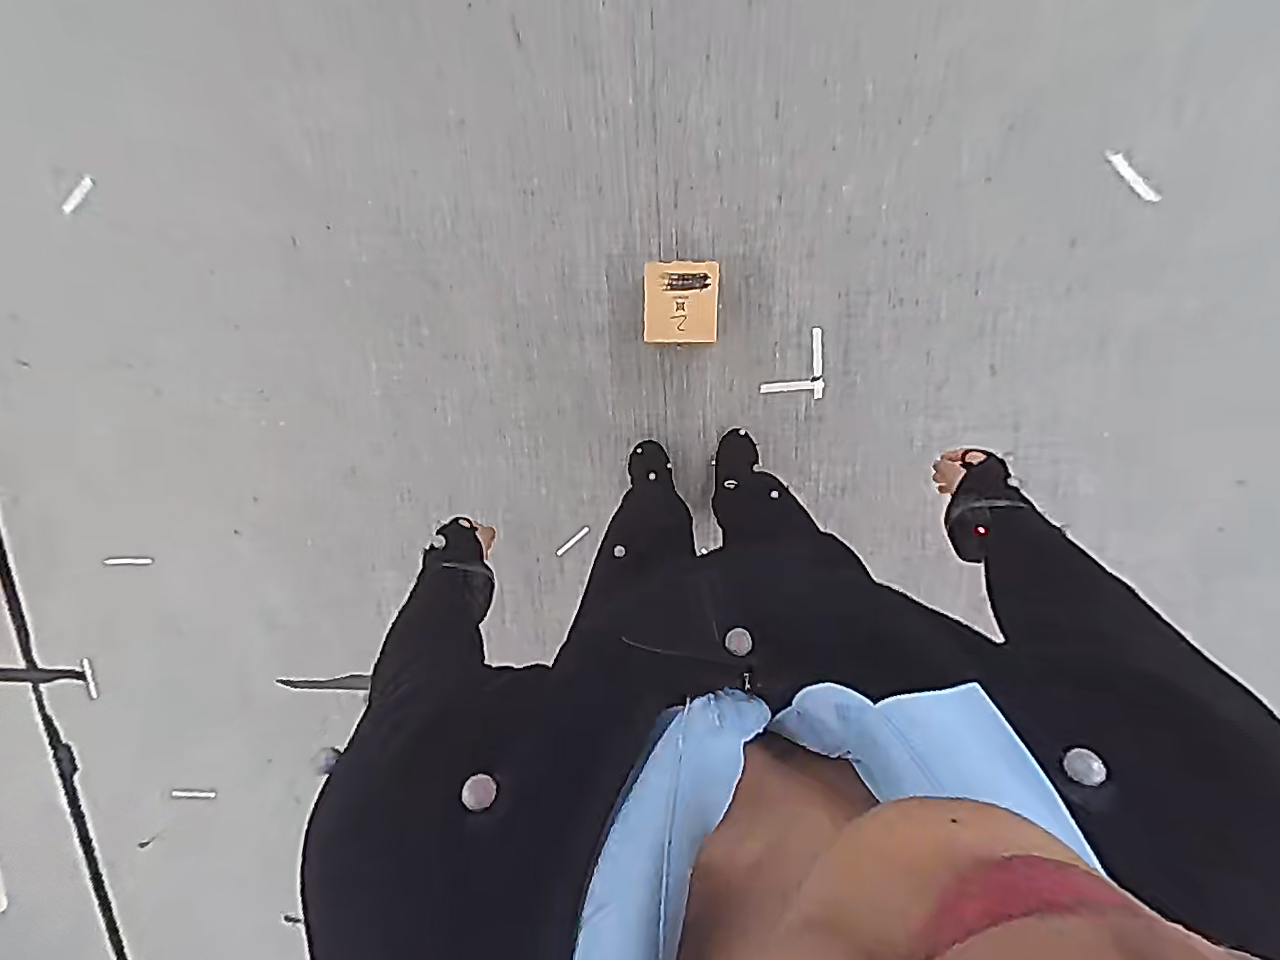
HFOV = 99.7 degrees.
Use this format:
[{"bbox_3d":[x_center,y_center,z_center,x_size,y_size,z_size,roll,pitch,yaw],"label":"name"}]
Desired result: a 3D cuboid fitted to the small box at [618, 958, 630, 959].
[{"bbox_3d":[0.004,1.461,1.469,0.168,0.176,0.179,-3,101,5],"label":"small box"}]
